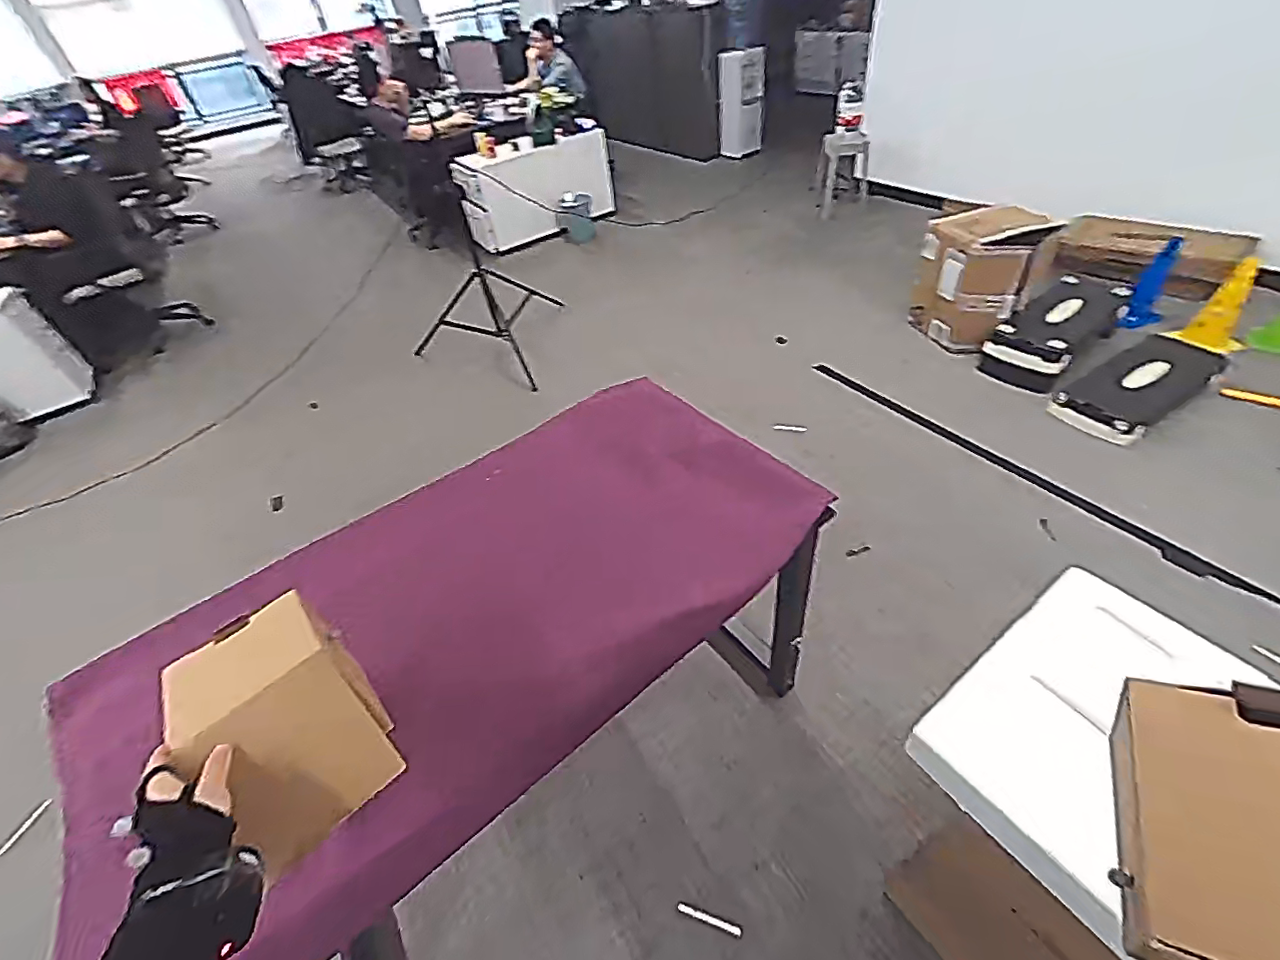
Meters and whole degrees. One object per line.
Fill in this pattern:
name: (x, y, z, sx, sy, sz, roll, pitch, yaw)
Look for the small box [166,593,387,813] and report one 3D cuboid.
small box: (-0.459, 0.285, 0.695, 0.168, 0.176, 0.179, -37, 35, -28)
